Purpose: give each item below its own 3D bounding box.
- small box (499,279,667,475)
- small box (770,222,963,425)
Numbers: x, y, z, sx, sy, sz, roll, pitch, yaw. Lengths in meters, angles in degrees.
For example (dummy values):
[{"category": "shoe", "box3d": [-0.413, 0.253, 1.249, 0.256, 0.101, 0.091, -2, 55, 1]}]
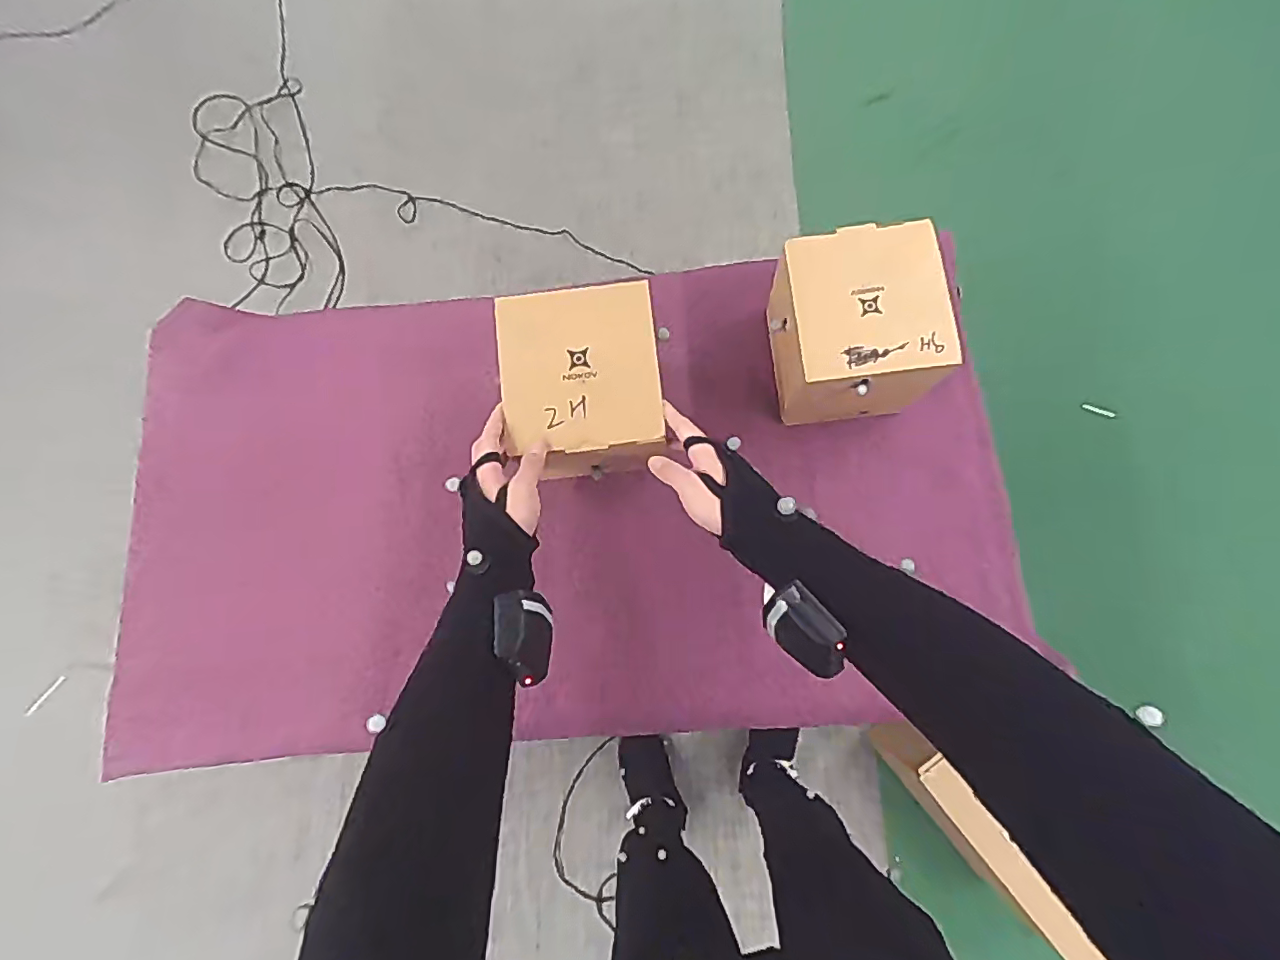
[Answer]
[{"category": "small box", "box3d": [-0.060, -0.110, 0.641, 0.168, 0.176, 0.179, -6, 82, 1]}, {"category": "small box", "box3d": [0.262, -0.183, 0.672, 0.168, 0.176, 0.179, -6, 78, 5]}]
